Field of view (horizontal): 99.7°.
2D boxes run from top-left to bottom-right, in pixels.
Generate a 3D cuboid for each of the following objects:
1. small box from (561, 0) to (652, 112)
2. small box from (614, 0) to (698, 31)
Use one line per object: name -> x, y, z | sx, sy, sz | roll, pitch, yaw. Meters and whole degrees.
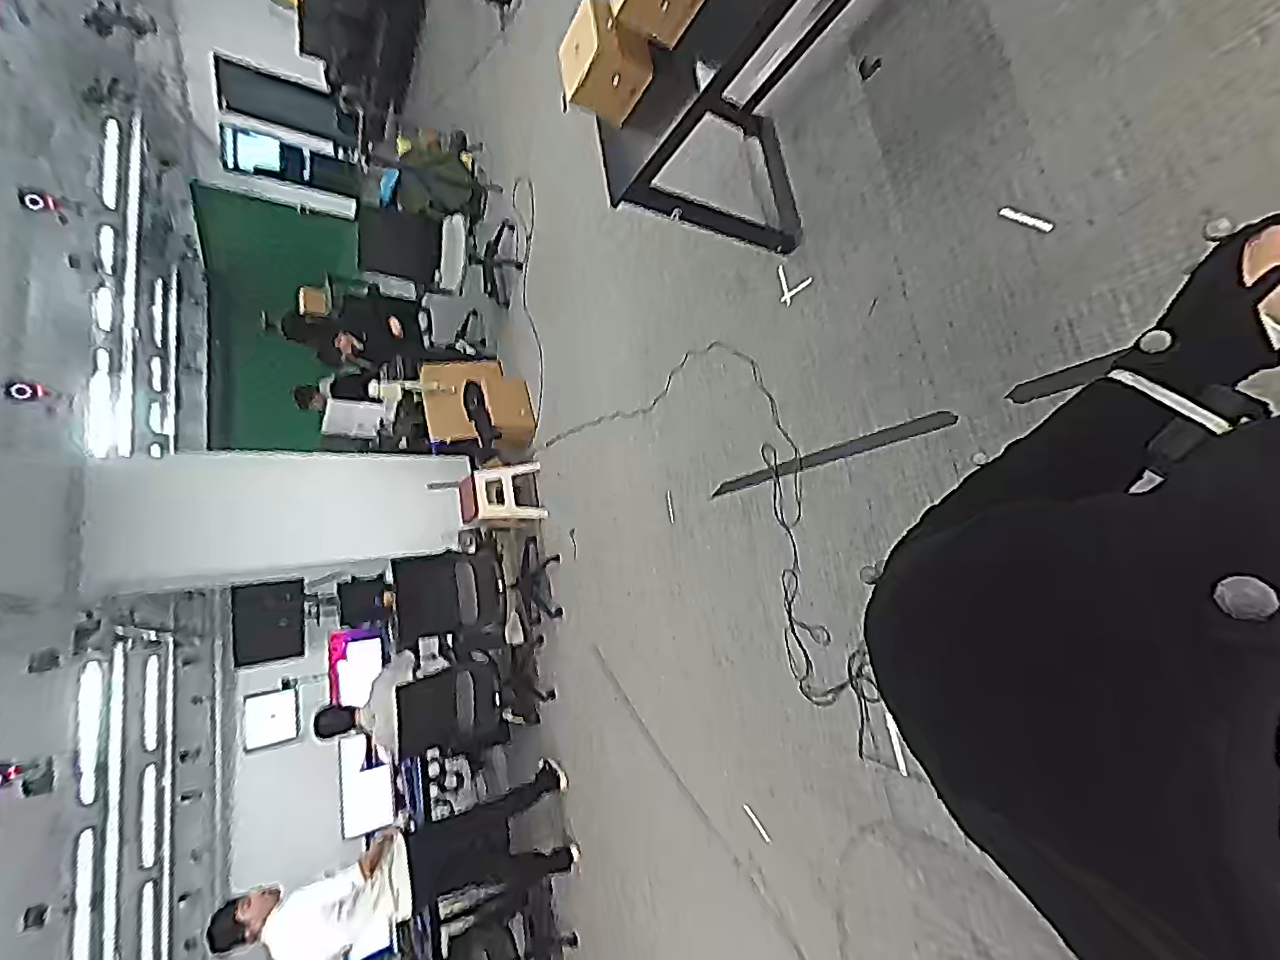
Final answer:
small box -> -0.085, -1.088, 1.385 | 0.168, 0.176, 0.179 | -25, 70, 52
small box -> 0.044, -1.147, 1.192 | 0.168, 0.176, 0.179 | -24, 72, 53
